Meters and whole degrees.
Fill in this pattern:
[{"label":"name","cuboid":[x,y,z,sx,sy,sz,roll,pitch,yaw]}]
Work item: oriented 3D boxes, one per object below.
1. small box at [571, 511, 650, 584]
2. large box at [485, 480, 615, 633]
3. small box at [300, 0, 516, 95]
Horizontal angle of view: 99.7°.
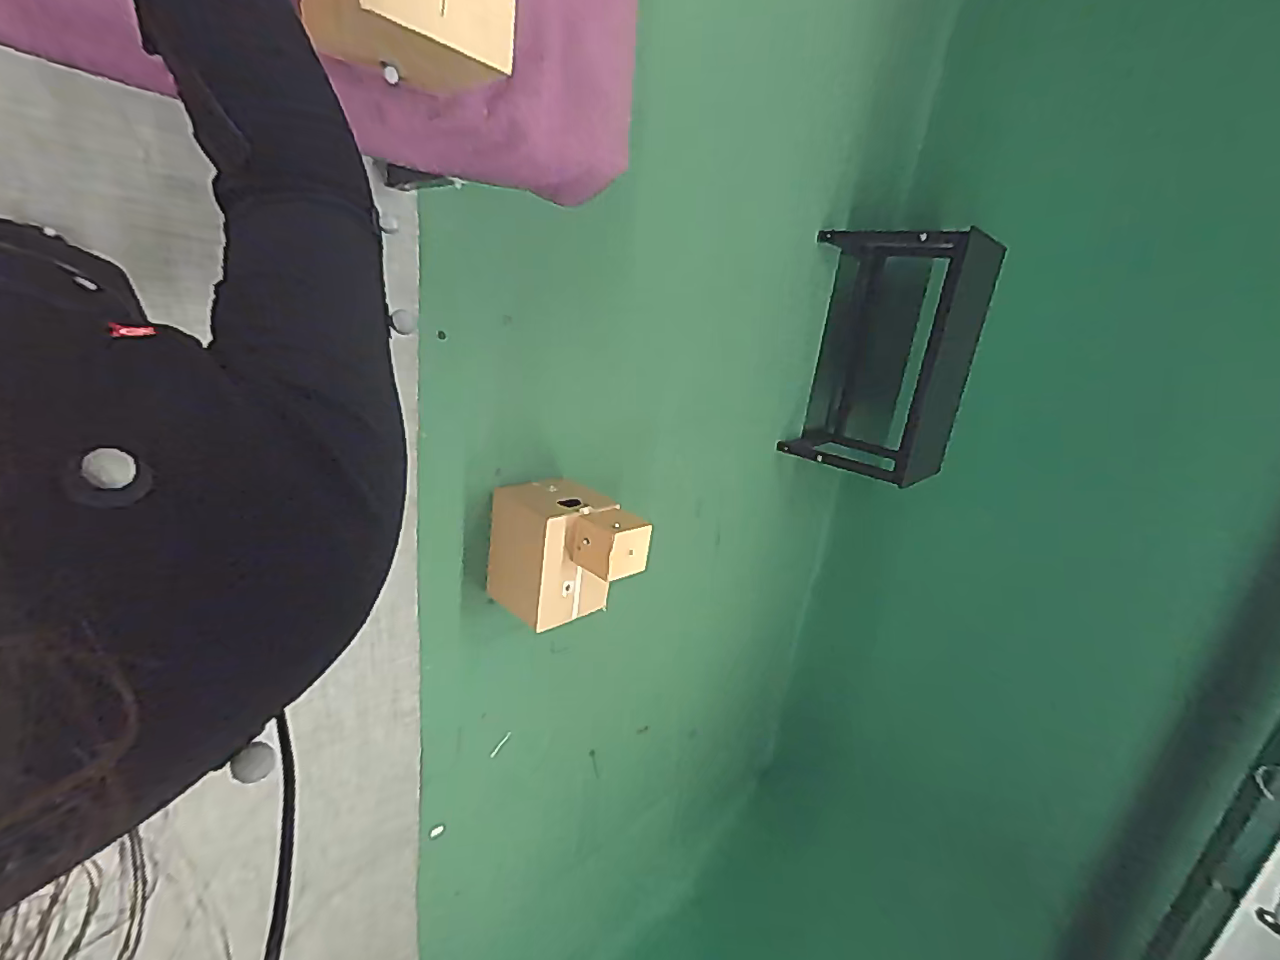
[{"label":"small box","cuboid":[-0.097,0.210,1.742,0.179,0.176,0.168,-9,114,-46]},{"label":"large box","cuboid":[-0.321,0.245,1.889,0.320,0.320,0.408,-8,114,-46]},{"label":"small box","cuboid":[-0.247,-0.547,0.573,0.168,0.176,0.179,-10,115,-45]}]
